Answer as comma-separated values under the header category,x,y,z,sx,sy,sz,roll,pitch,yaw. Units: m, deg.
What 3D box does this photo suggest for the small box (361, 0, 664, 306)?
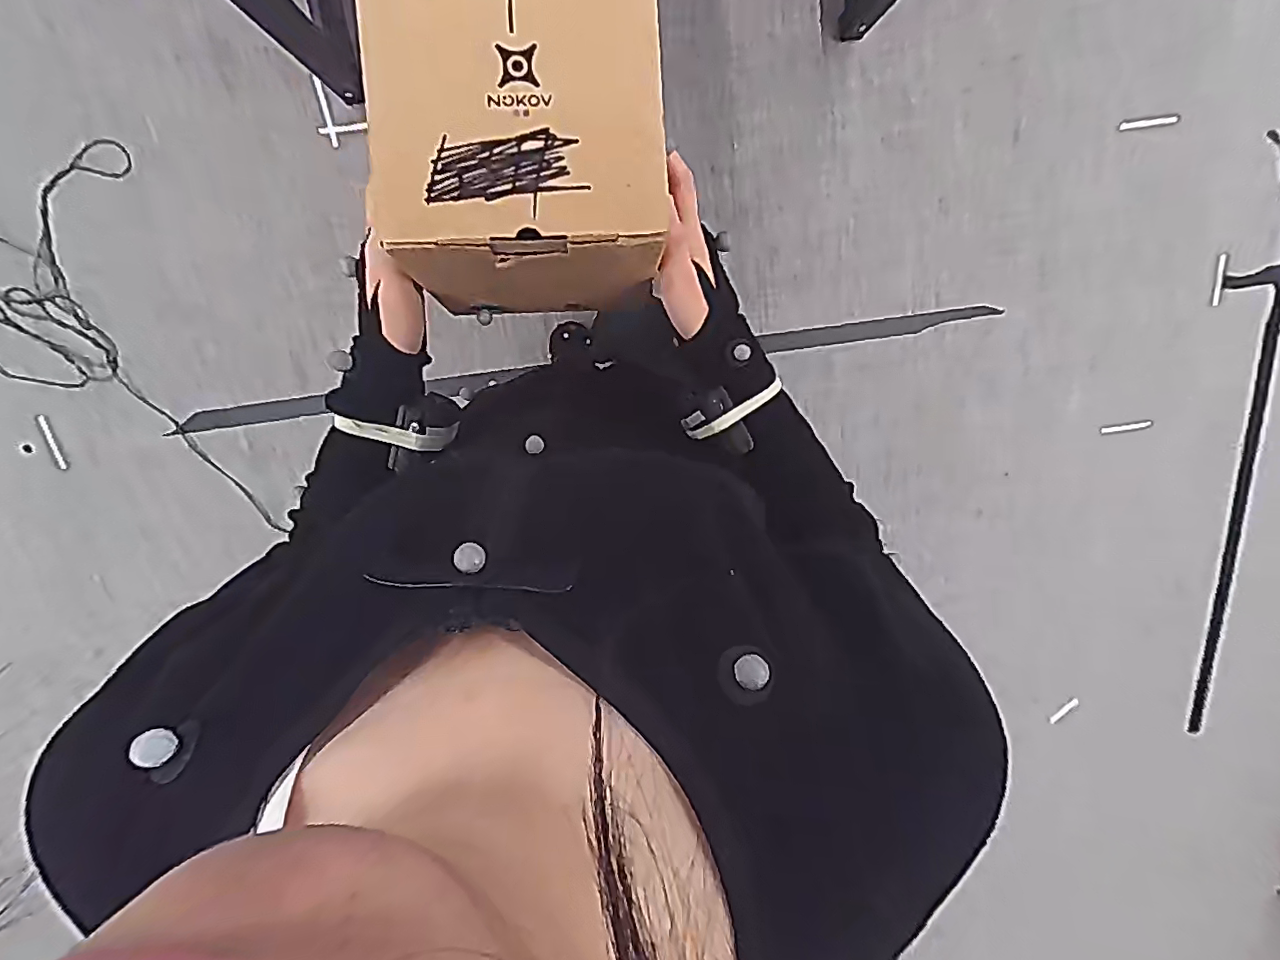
category,x,y,z,sx,sy,sz,roll,pitch,yaw
small box,-0.076,-0.229,0.385,0.168,0.176,0.179,-4,93,-6

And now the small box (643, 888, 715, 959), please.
category,x,y,z,sx,sy,sz,roll,pitch,yaw
small box,0.110,1.292,1.517,0.179,0.176,0.168,-9,106,-2
